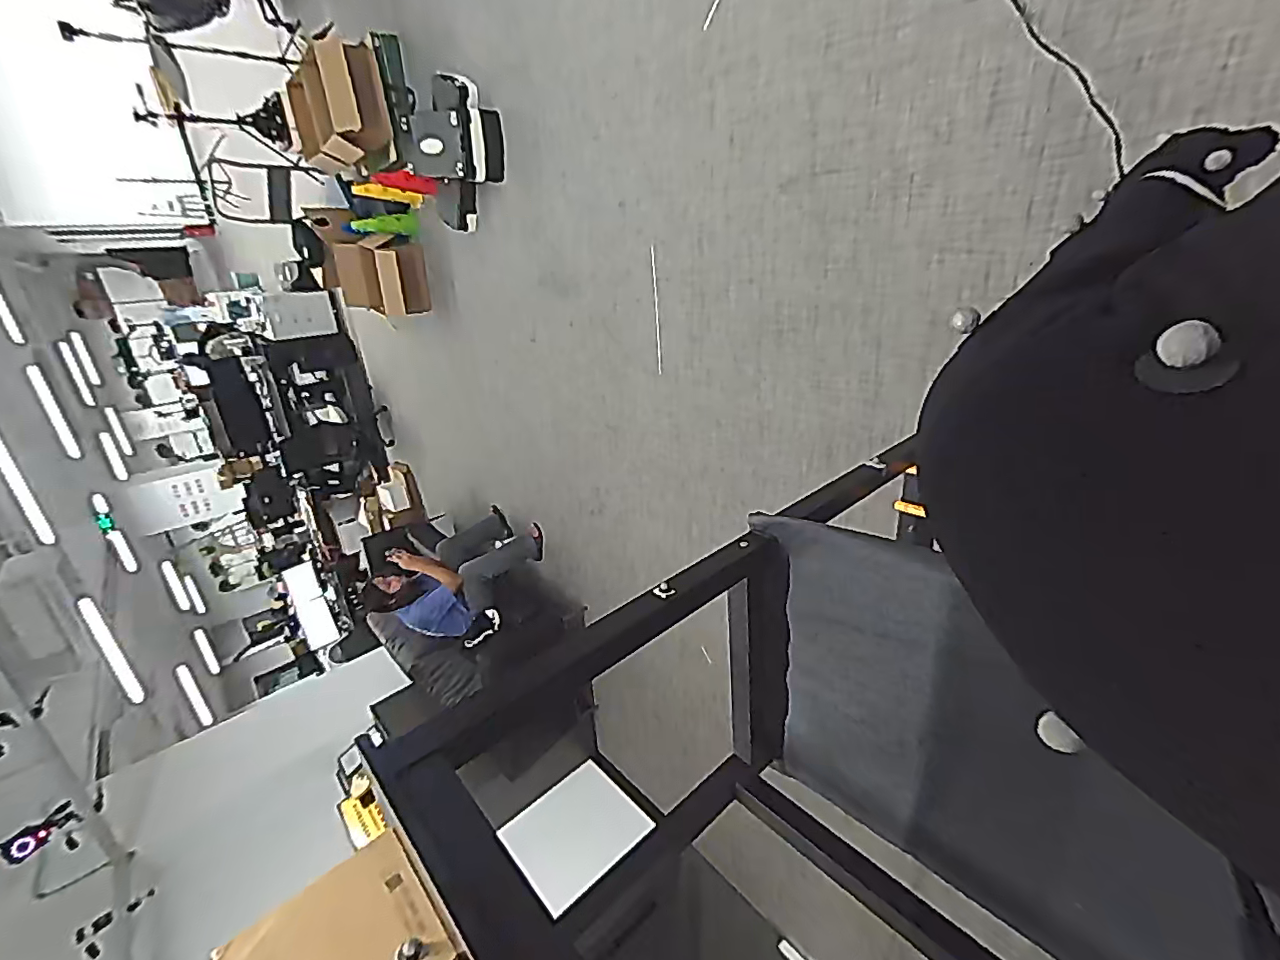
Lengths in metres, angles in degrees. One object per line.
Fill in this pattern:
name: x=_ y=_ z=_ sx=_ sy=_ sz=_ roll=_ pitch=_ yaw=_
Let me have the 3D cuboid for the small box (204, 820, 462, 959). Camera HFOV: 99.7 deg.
small box: x=-0.277 y=0.484 z=0.522 sx=0.168 sy=0.176 sz=0.179 roll=23 pitch=126 yaw=42
